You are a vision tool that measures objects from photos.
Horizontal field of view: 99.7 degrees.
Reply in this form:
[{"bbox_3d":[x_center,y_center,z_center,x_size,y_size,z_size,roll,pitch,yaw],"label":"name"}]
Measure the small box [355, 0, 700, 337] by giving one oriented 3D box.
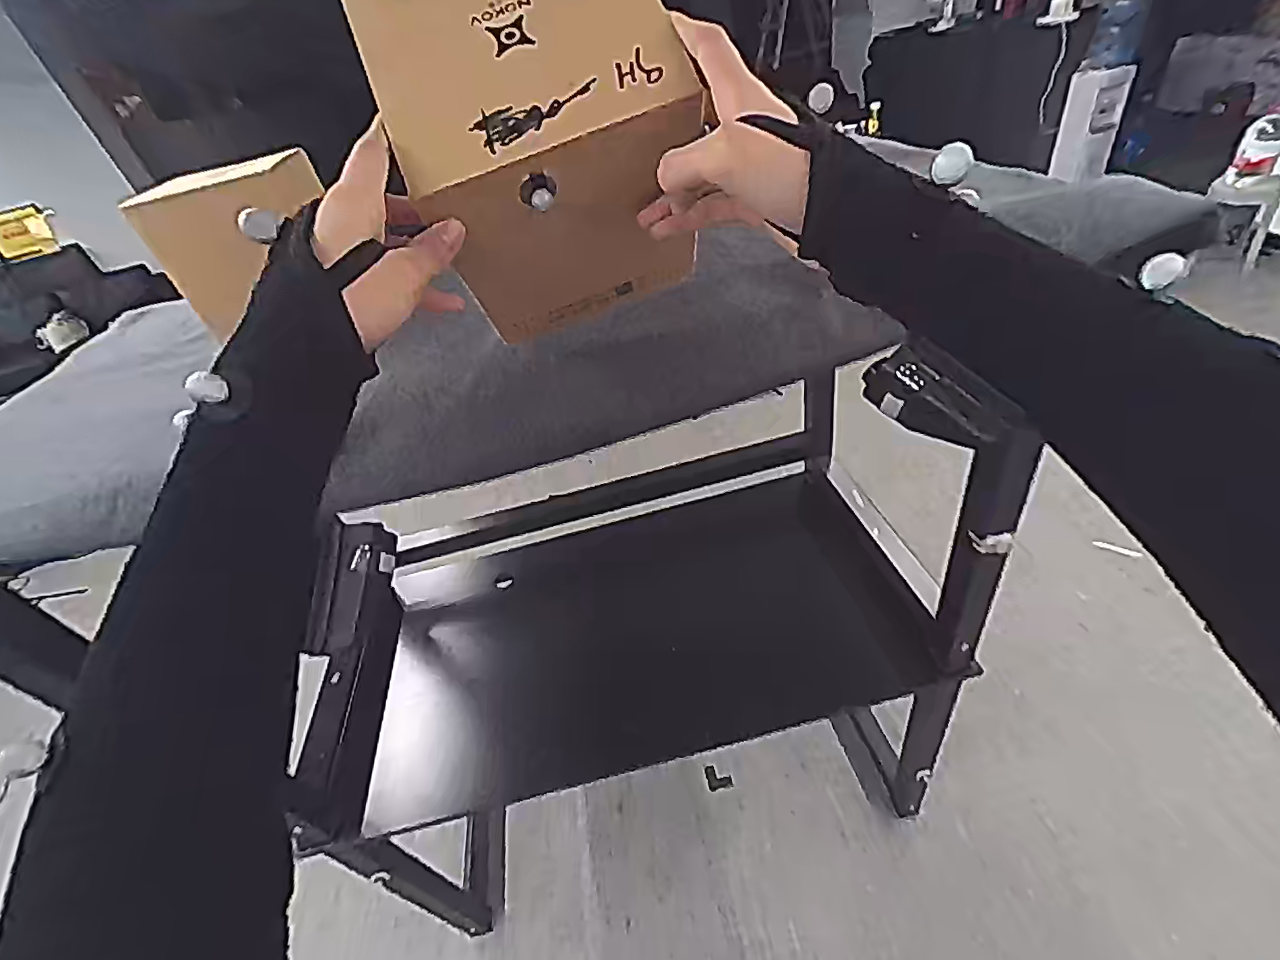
[{"bbox_3d":[-0.067,-0.236,0.385,0.168,0.176,0.179,-21,75,-1],"label":"small box"}]
